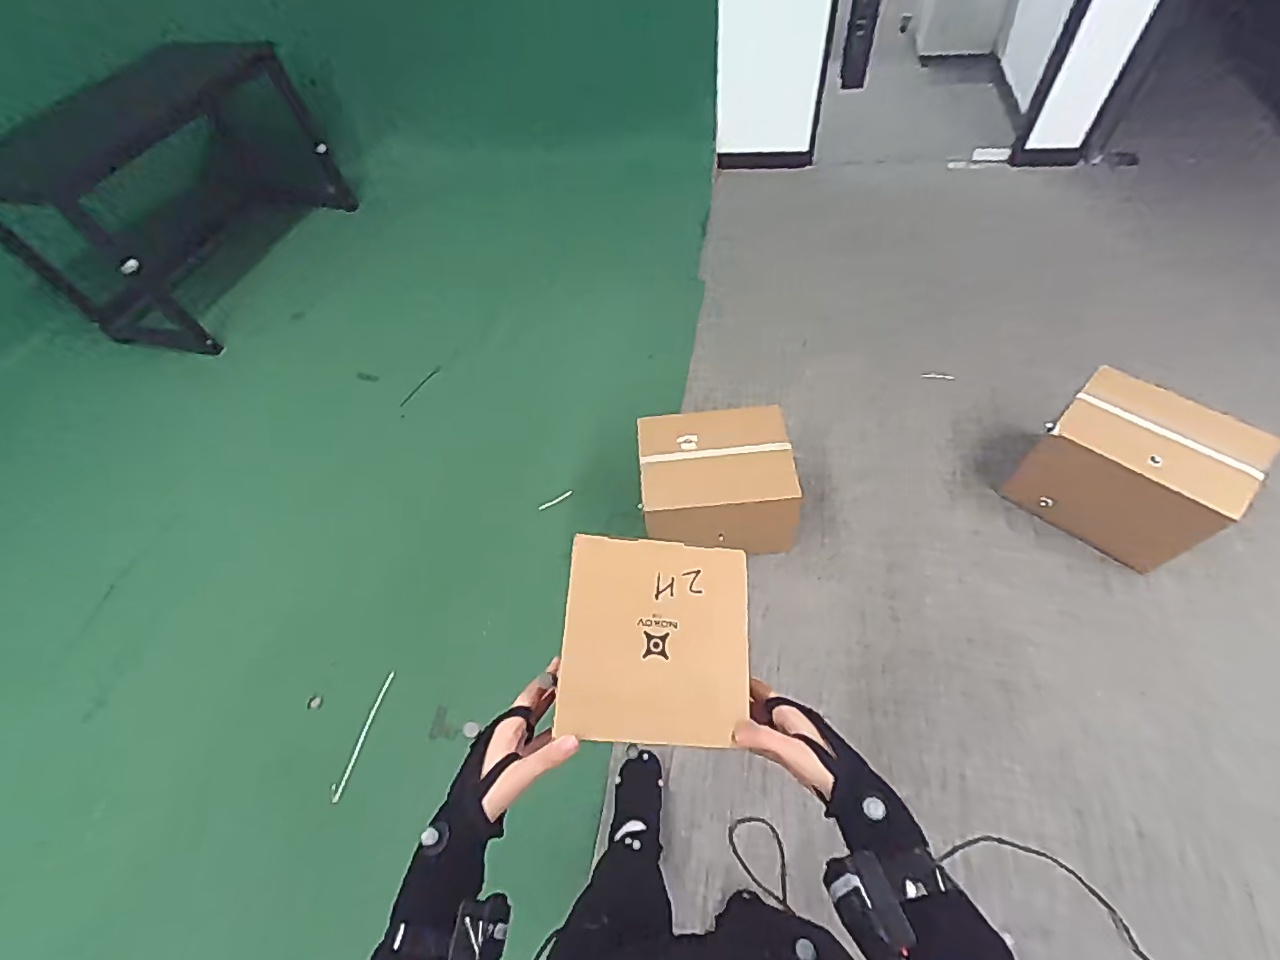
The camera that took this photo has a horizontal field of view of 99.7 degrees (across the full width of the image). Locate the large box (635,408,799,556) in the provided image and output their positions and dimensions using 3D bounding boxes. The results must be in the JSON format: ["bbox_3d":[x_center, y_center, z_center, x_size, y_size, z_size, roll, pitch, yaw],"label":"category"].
[{"bbox_3d":[0.209,0.029,1.558,0.408,0.320,0.320,-6,55,3],"label":"large box"}]

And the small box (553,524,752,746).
[{"bbox_3d":[0.008,0.162,0.545,0.168,0.176,0.179,8,65,-6],"label":"small box"}]
